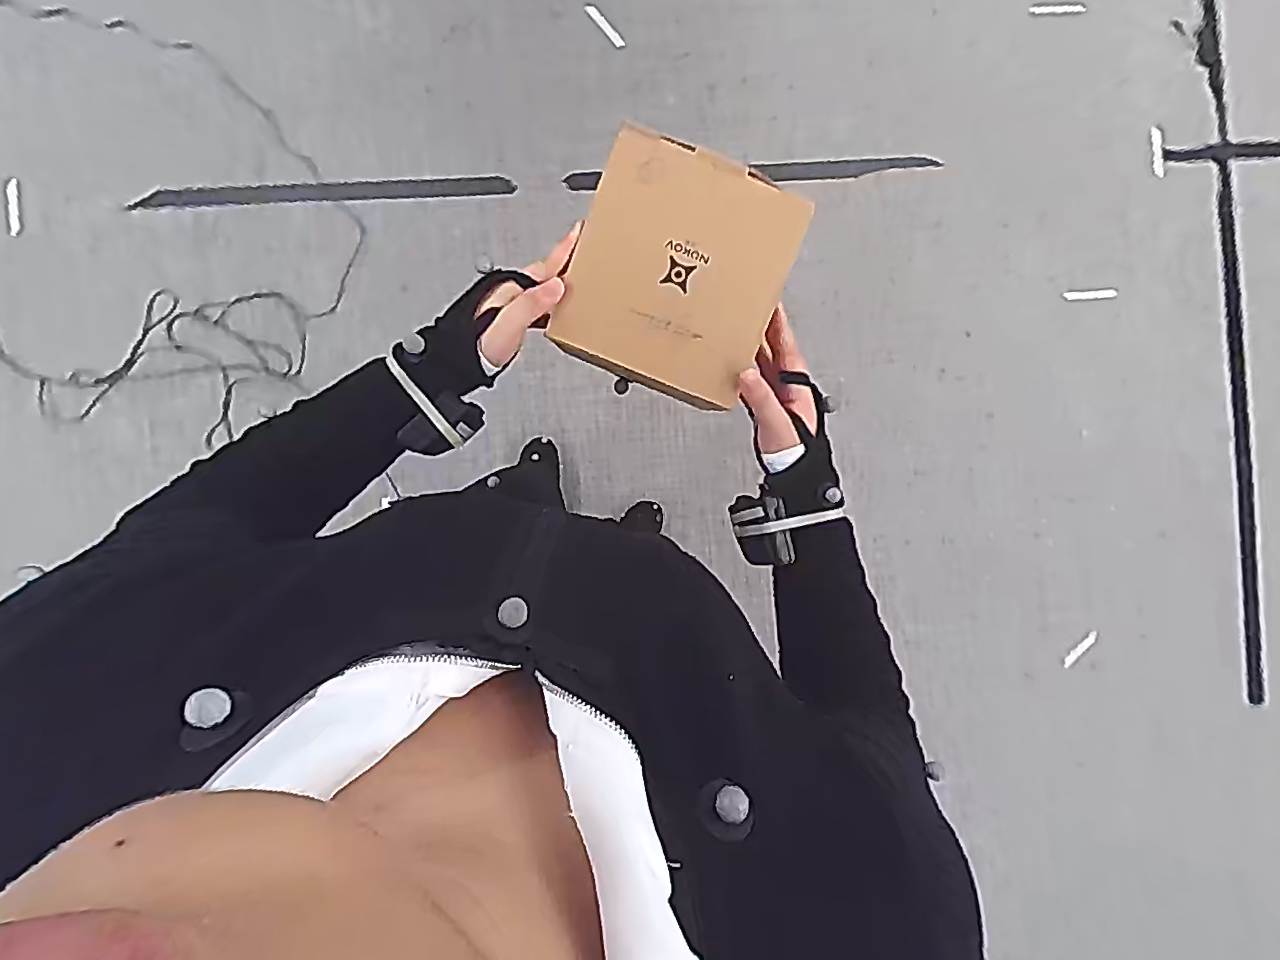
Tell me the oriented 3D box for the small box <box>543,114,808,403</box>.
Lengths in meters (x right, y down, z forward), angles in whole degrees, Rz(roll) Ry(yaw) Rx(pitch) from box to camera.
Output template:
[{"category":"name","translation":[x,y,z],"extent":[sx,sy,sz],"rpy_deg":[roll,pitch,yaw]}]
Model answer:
[{"category":"small box","translation":[0.024,-0.182,0.504],"extent":[0.168,0.176,0.179],"rpy_deg":[20,97,-4]}]
